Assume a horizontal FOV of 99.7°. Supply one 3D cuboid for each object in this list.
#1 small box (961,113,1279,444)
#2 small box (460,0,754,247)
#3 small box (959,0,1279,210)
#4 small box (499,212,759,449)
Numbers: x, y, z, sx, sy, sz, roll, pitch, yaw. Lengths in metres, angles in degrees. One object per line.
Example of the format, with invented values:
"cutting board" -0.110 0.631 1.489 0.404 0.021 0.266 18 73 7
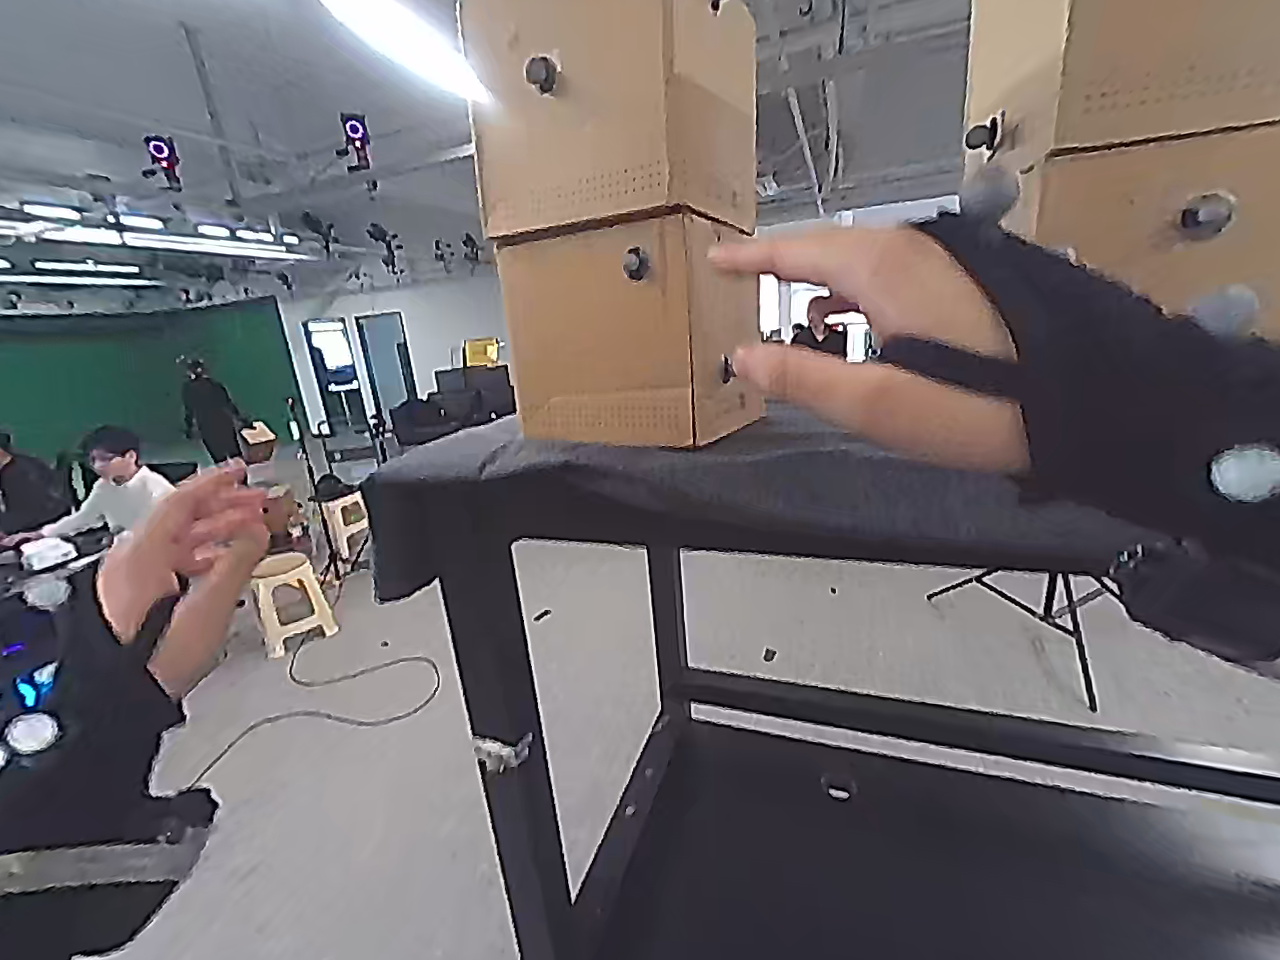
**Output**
"small box" 0.332 -0.119 0.366 0.179 0.176 0.168 1 16 18
"small box" -0.016 -0.279 0.441 0.179 0.176 0.168 4 16 29
"small box" 0.321 -0.278 0.334 0.179 0.176 0.168 -2 14 13
"small box" 0.000 -0.123 0.491 0.179 0.176 0.168 4 16 29
